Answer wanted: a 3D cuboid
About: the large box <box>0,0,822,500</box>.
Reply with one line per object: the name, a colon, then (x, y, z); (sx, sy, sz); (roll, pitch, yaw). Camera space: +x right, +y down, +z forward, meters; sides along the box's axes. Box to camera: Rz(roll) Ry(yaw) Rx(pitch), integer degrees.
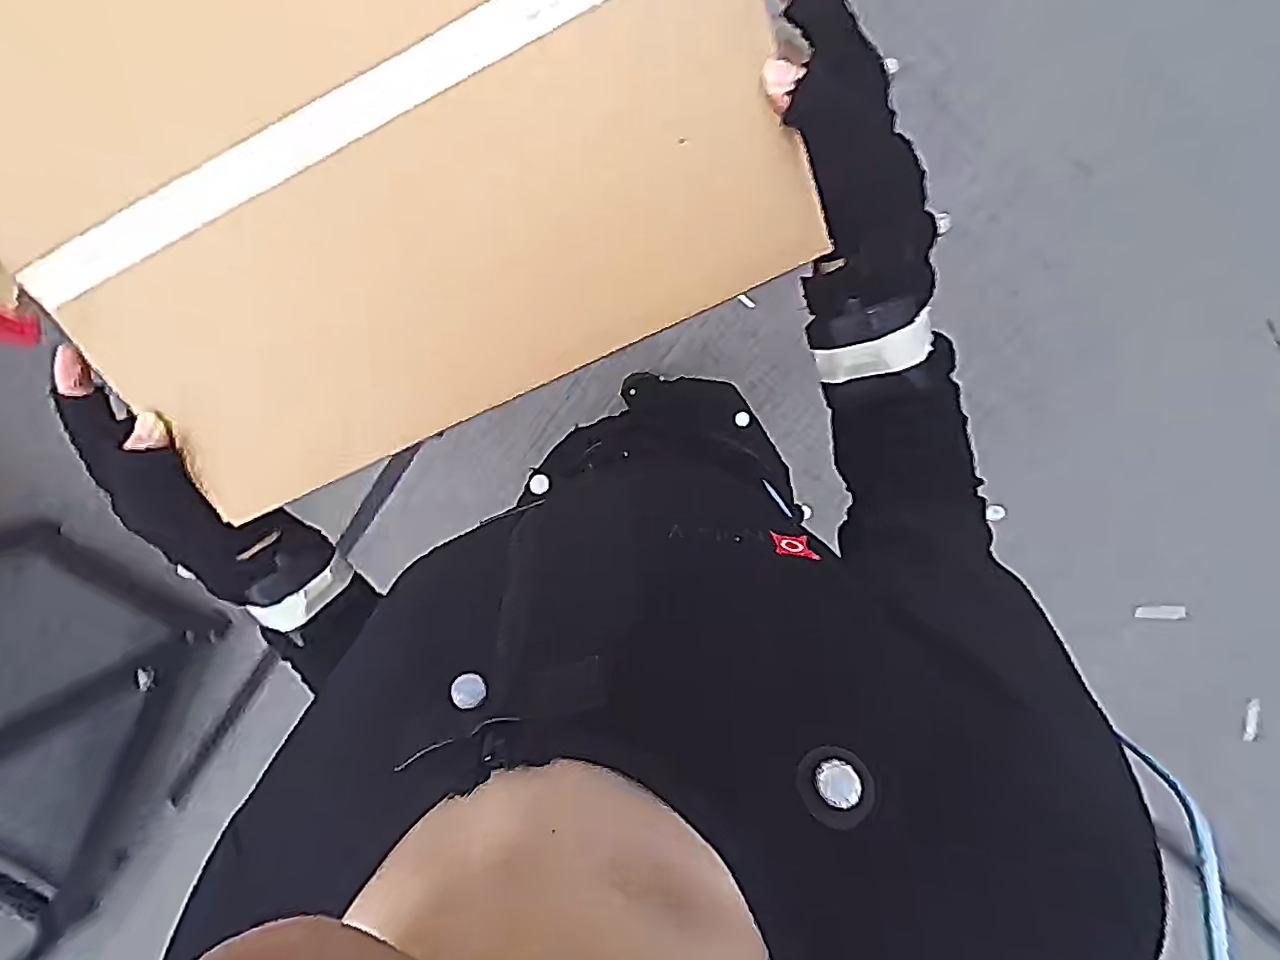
large box: (-0.140, -0.243, 0.420); (0.408, 0.320, 0.320); (-22, 112, 7)
